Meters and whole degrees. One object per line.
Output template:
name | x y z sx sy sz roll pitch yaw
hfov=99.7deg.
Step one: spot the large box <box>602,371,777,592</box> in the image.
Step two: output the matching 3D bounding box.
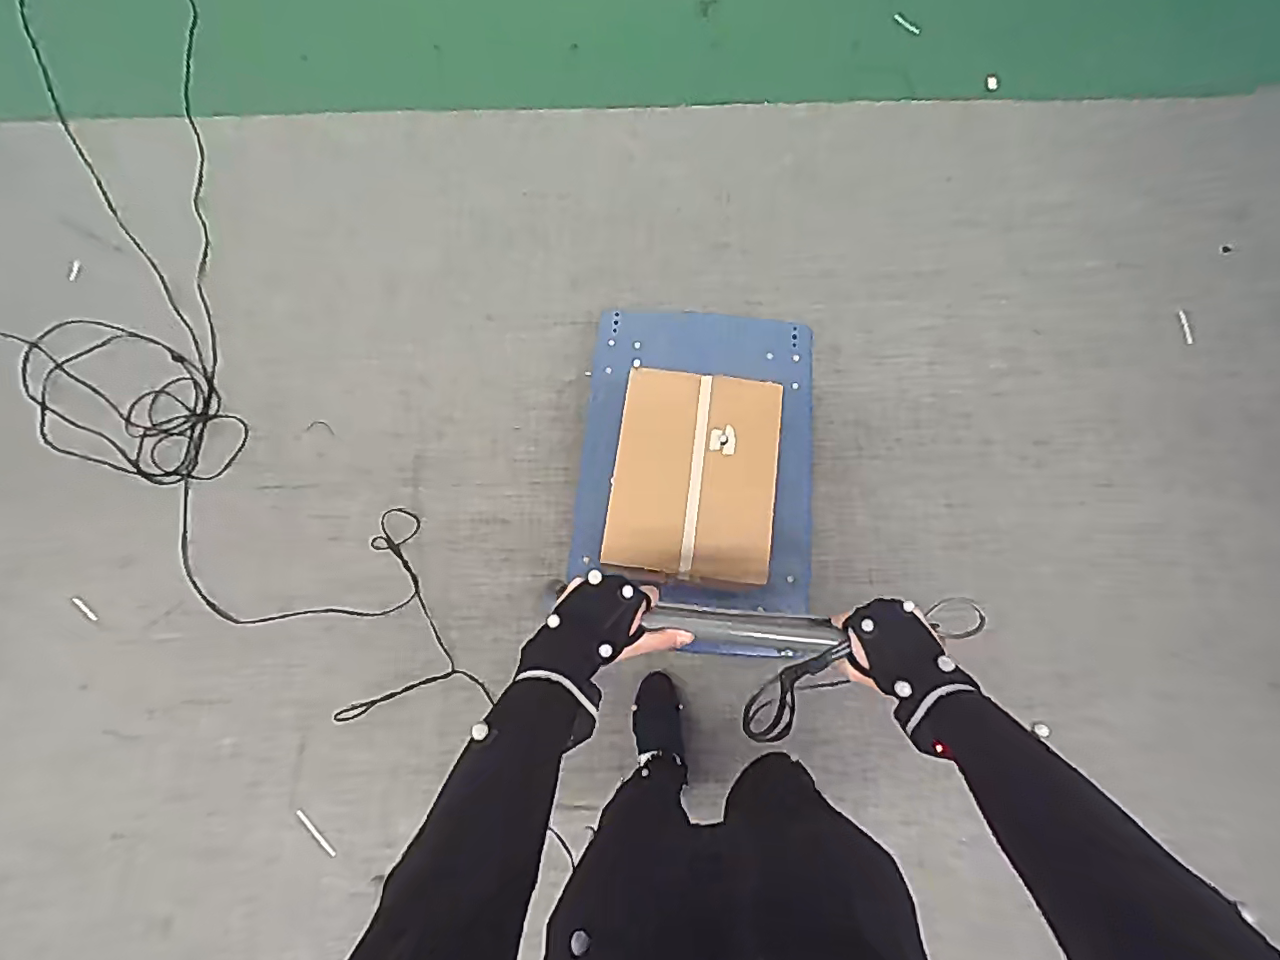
large box | 0.105 0.024 1.194 0.320 0.320 0.408 8 75 1
